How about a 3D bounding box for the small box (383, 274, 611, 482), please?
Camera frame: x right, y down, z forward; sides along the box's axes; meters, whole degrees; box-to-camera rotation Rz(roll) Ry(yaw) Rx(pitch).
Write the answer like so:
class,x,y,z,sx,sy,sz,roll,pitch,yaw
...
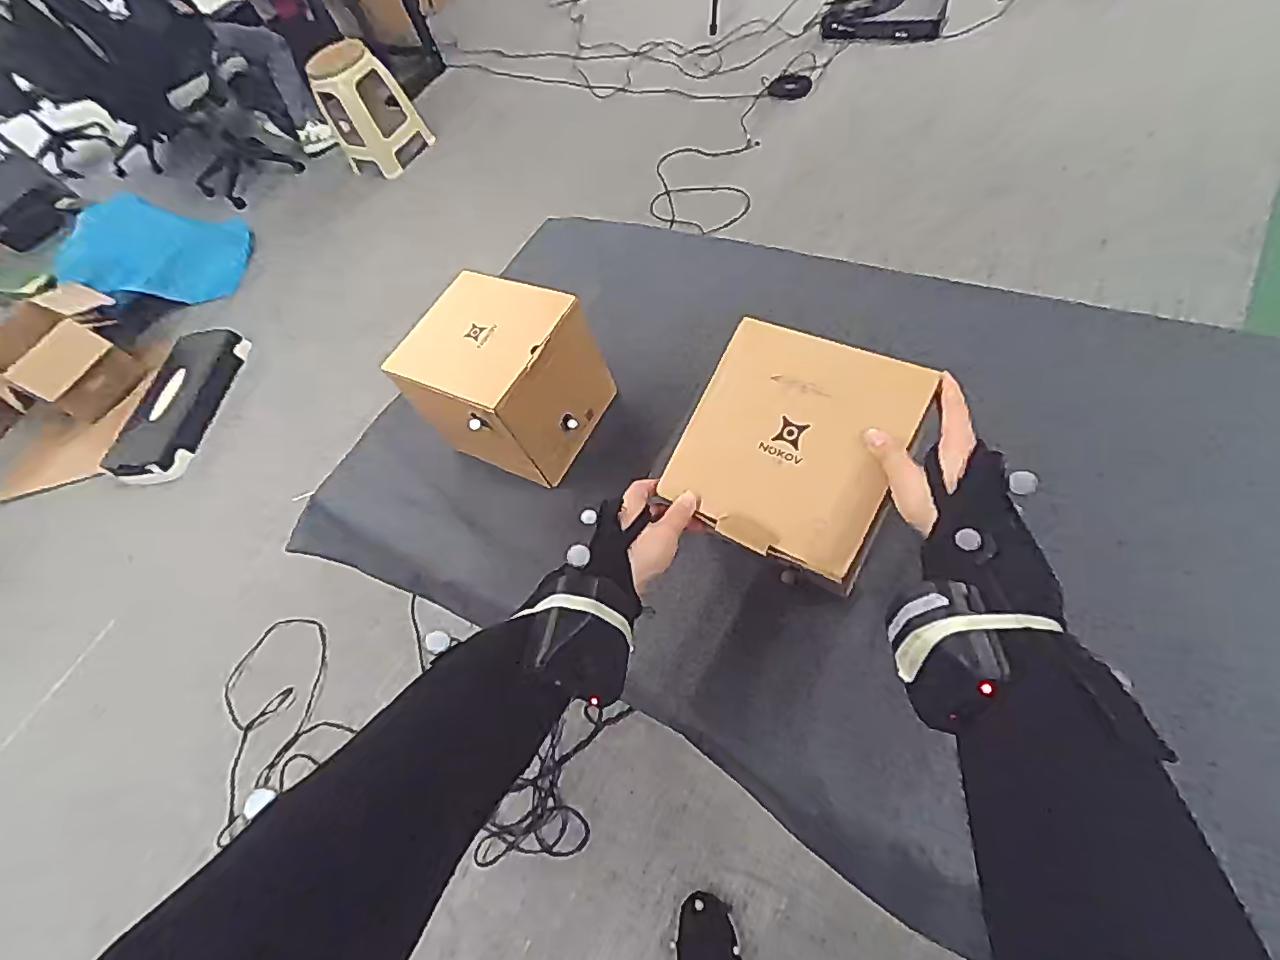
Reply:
class,x,y,z,sx,sy,sz,roll,pitch,yaw
small box,-0.162,-0.120,0.666,0.179,0.176,0.168,20,67,23
